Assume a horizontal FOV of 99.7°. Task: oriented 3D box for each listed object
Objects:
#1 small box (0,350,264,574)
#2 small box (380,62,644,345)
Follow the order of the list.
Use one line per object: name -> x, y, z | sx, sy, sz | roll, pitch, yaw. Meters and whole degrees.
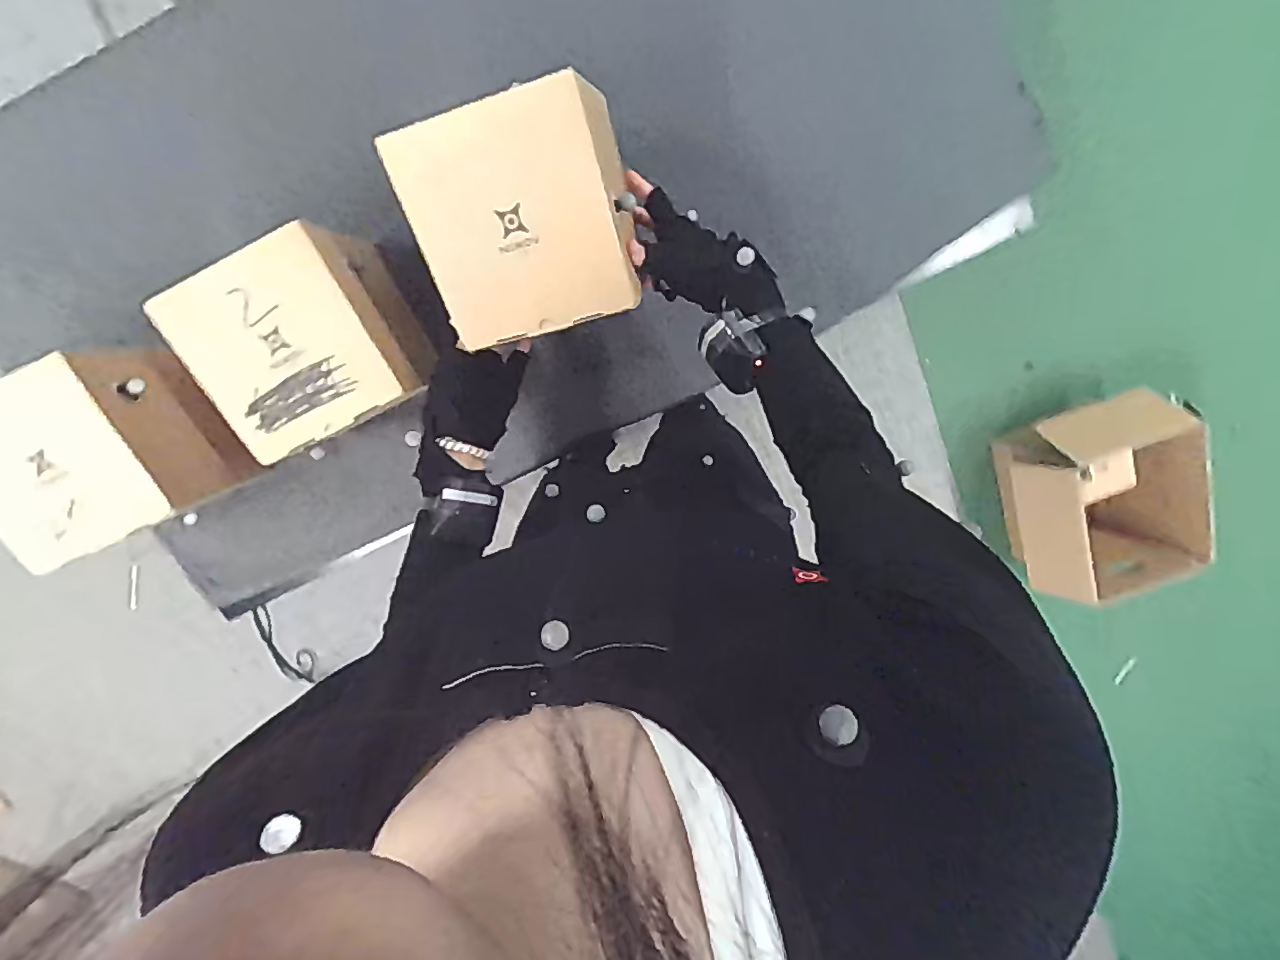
small box -> -0.577, -0.032, 0.597 | 0.168, 0.176, 0.179 | -24, 106, 3
small box -> -0.096, -0.250, 0.505 | 0.168, 0.176, 0.179 | -11, 121, 10
